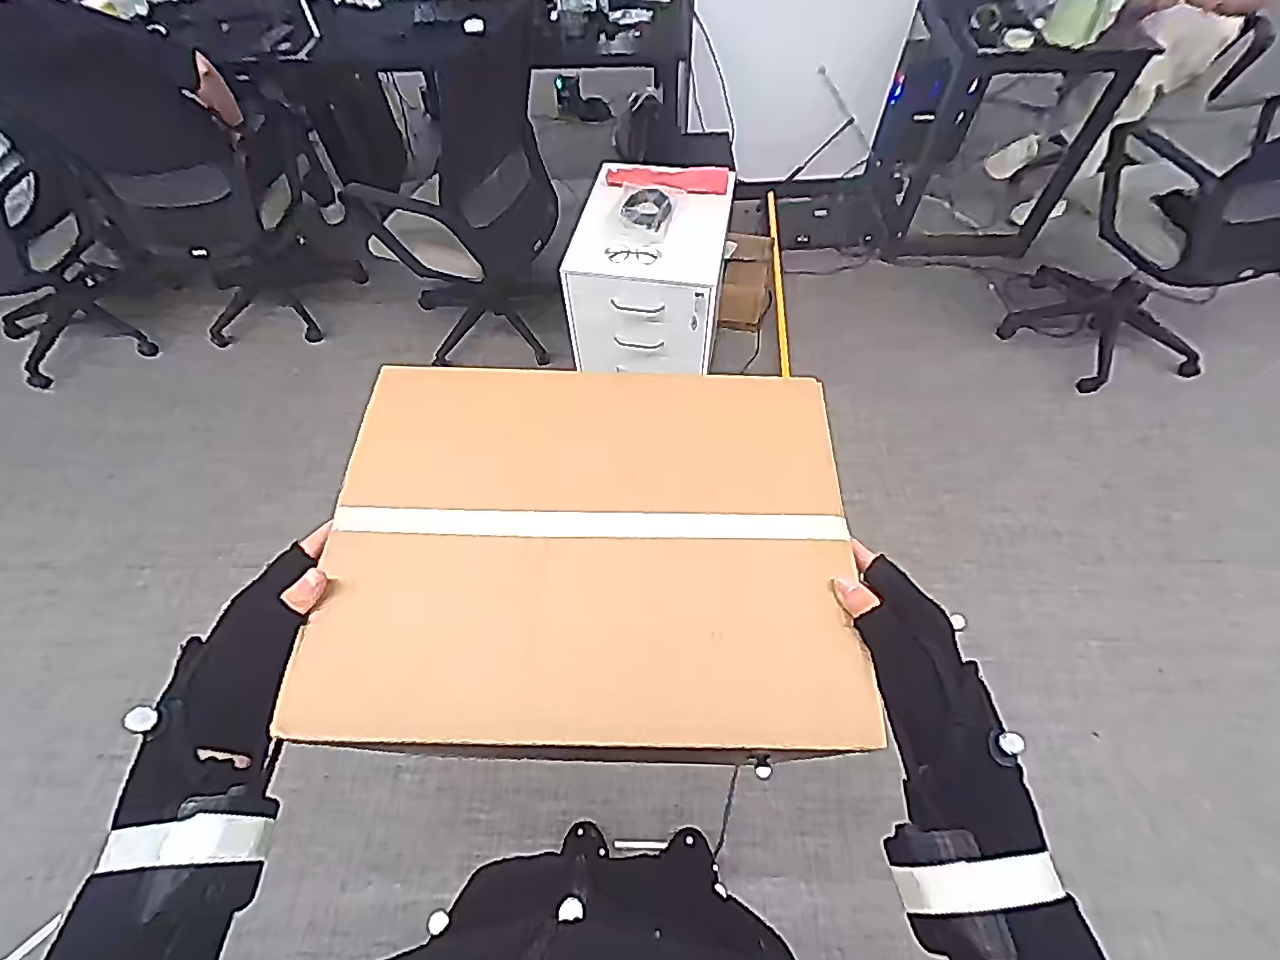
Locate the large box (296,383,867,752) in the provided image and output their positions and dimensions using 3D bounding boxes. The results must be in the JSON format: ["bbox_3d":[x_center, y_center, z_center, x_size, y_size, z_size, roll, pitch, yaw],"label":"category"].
[{"bbox_3d":[-0.039,0.114,0.573,0.408,0.320,0.320,1,61,-1],"label":"large box"}]
